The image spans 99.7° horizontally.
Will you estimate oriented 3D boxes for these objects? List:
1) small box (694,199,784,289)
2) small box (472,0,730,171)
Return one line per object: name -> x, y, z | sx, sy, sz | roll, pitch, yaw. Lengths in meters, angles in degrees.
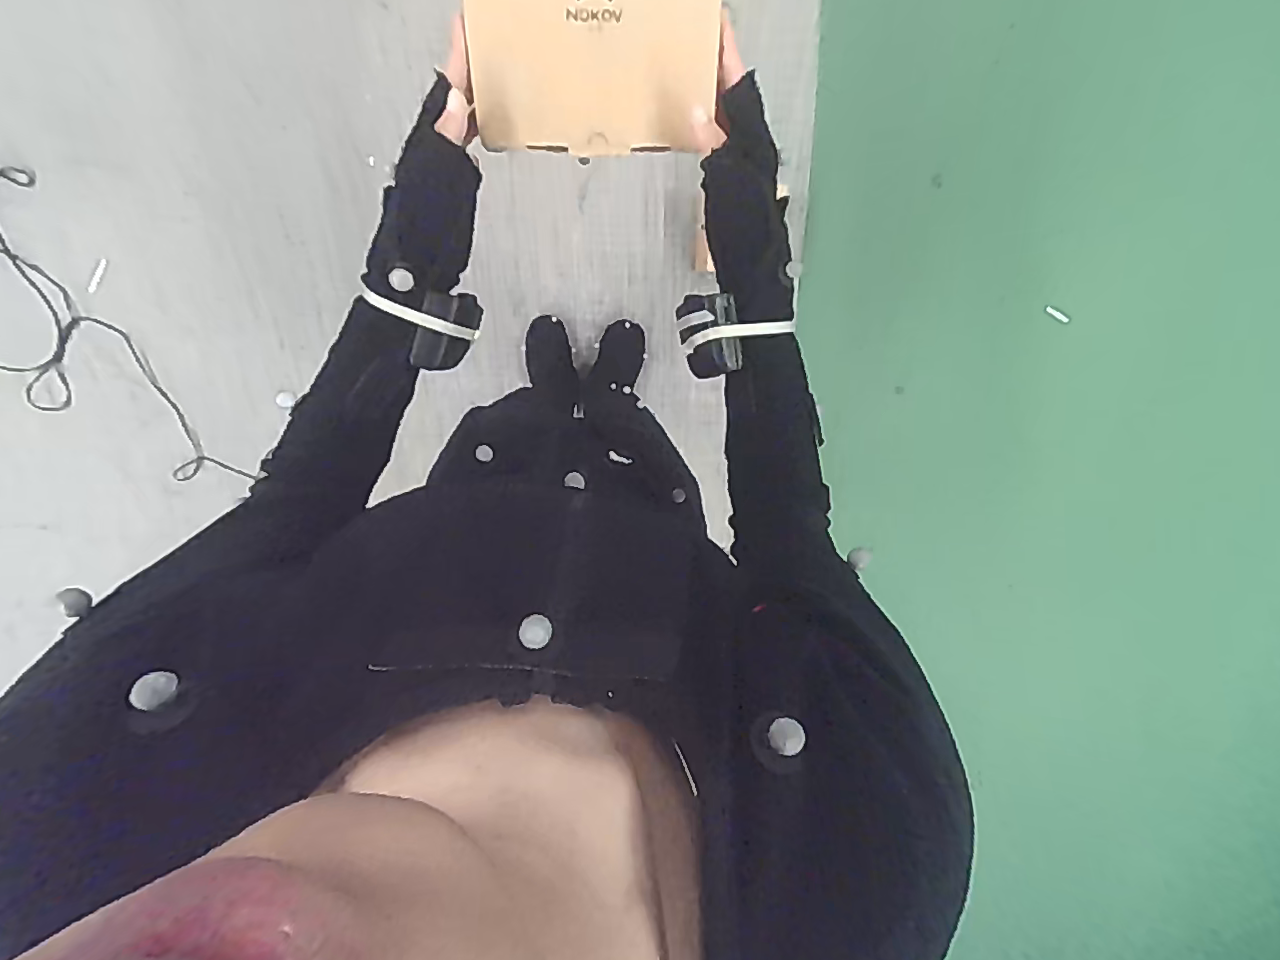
small box -> 0.219, -0.534, 1.244 | 0.168, 0.176, 0.179 | 0, 108, -4
small box -> -0.029, -0.337, 0.410 | 0.168, 0.176, 0.179 | -2, 122, -2
